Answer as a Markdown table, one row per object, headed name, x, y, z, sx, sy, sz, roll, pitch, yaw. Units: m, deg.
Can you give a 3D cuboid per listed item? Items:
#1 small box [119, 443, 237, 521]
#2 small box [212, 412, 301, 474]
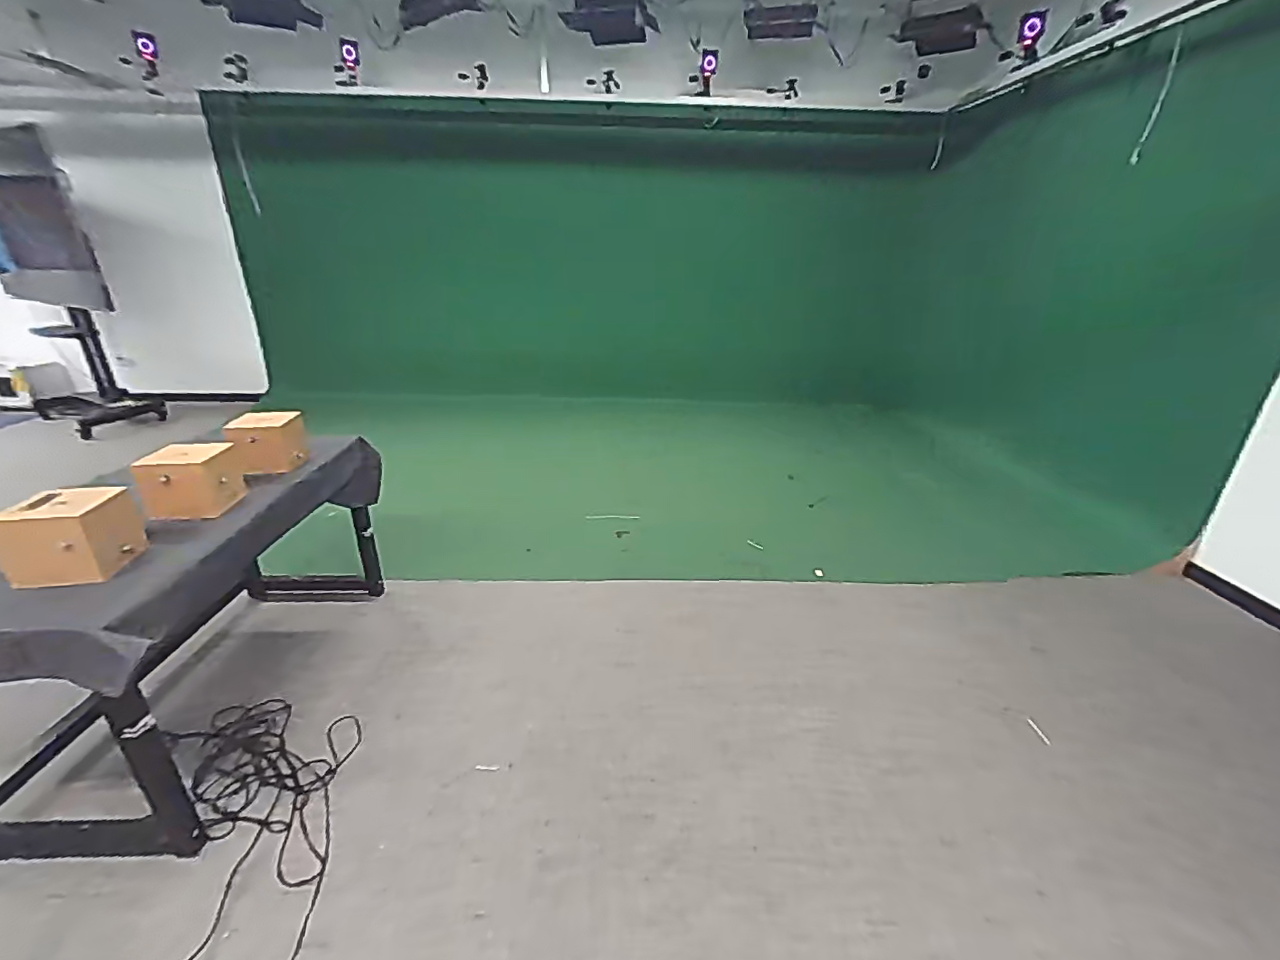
| name | x | y | z | sx | sy | sz | roll | pitch | yaw |
| --- | --- | --- | --- | --- | --- | --- | --- | --- | --- |
| small box | -1.279 | 0.004 | 1.515 | 0.179 | 0.176 | 0.168 | -3 | 24 | -7 |
| small box | -1.277 | -0.123 | 1.815 | 0.179 | 0.176 | 0.168 | -2 | 25 | -9 |
